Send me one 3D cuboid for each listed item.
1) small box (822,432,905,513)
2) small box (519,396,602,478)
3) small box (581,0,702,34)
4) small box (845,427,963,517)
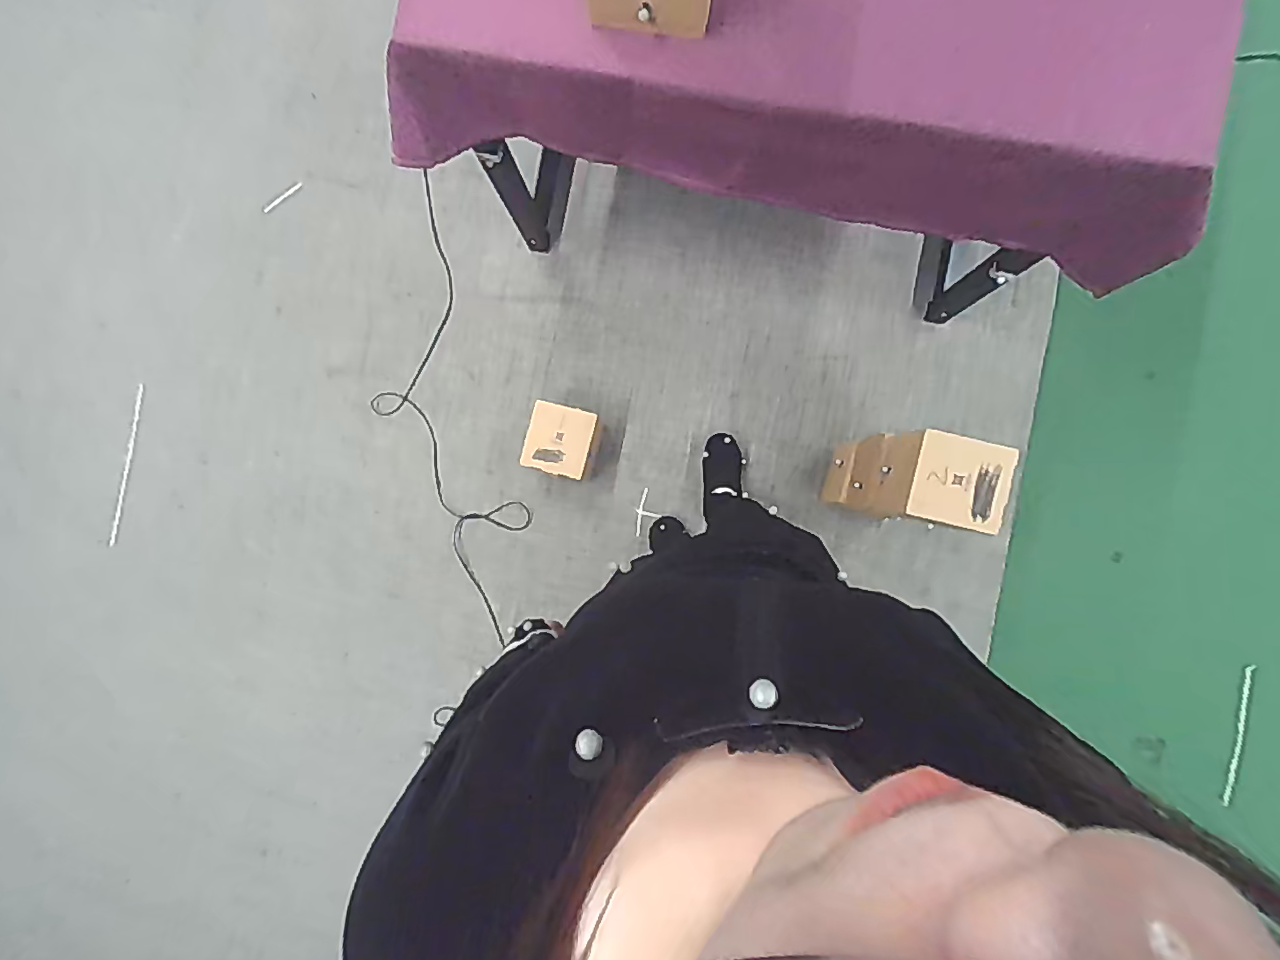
[{"bbox_3d":[0.595,-0.015,1.407,0.179,0.176,0.168,15,89,2],"label":"small box"},{"bbox_3d":[-0.205,-0.108,1.448,0.168,0.176,0.179,14,88,3],"label":"small box"},{"bbox_3d":[0.011,-0.749,0.723,0.179,0.176,0.168,9,88,2],"label":"small box"},{"bbox_3d":[0.596,-0.016,1.244,0.179,0.176,0.168,12,90,2],"label":"small box"}]
